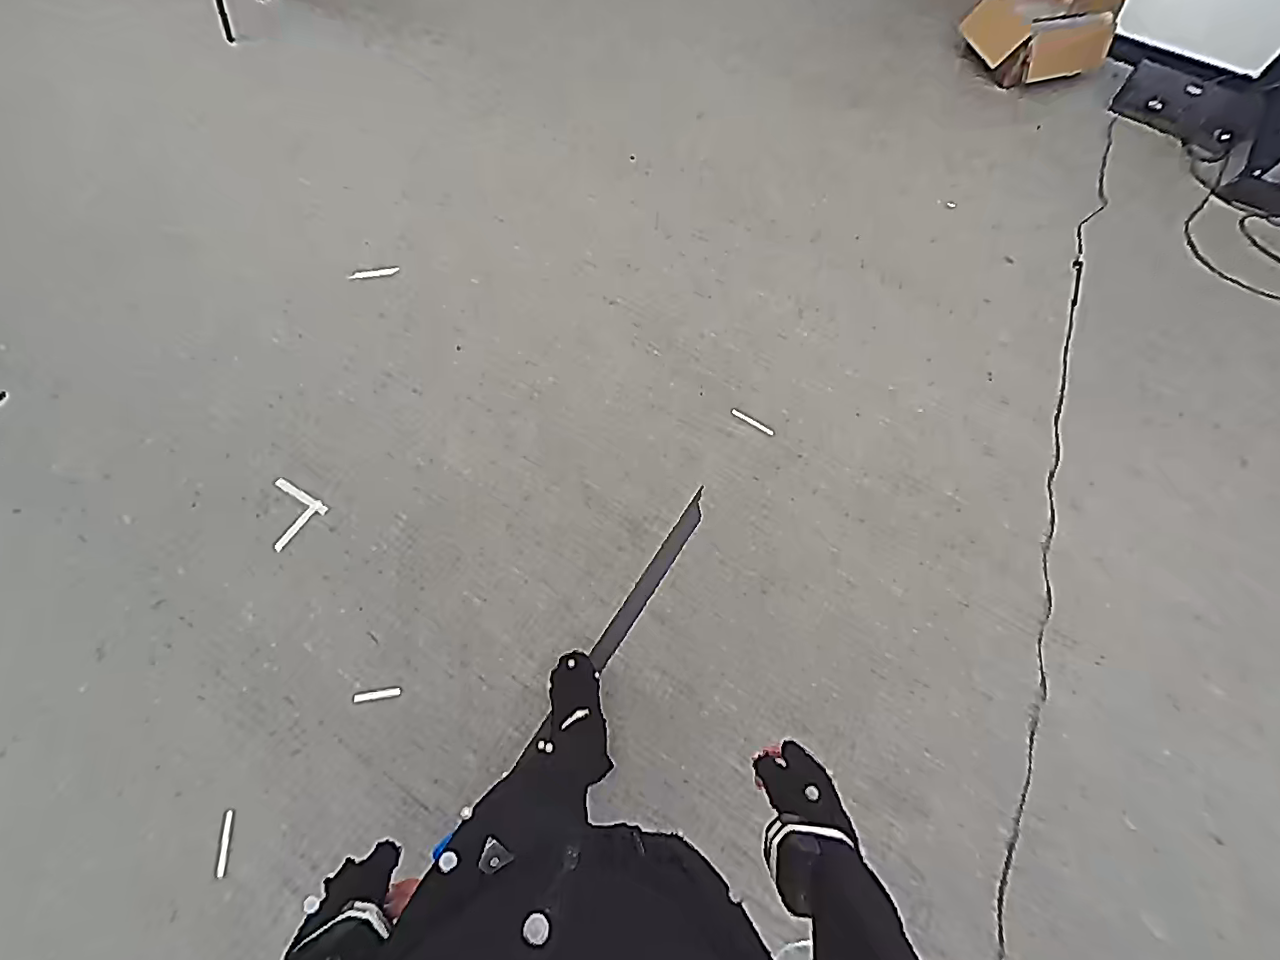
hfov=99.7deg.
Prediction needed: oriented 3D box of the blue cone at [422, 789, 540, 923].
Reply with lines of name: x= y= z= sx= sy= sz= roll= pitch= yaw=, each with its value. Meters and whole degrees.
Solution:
blue cone: x=-0.323 y=0.734 z=1.006 sx=0.193 sy=0.380 sz=0.192 roll=-37 pitch=72 yaw=-17
